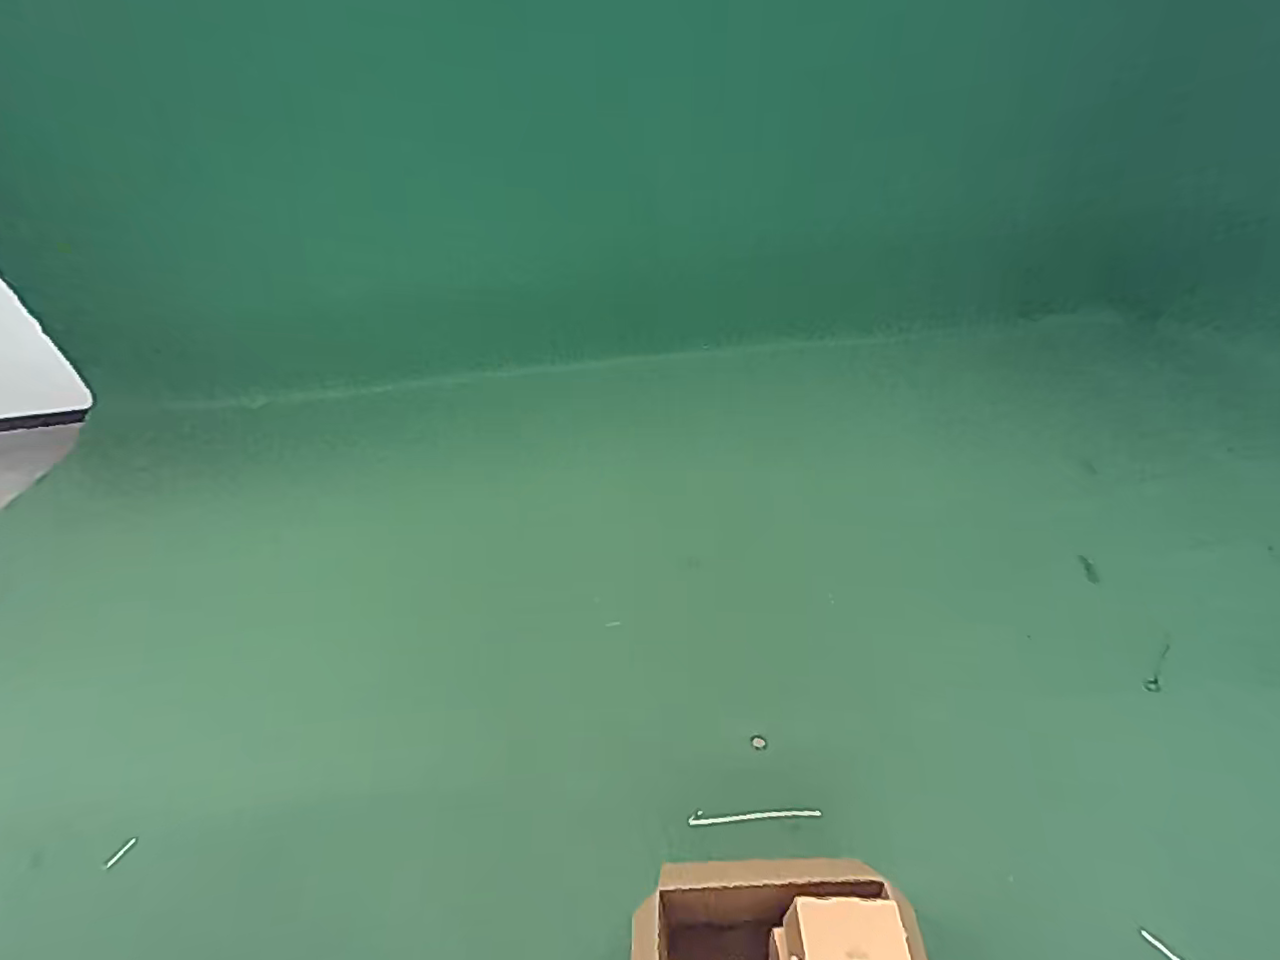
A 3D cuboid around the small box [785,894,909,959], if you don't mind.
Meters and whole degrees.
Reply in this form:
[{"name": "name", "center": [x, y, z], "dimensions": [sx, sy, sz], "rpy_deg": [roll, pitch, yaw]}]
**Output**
[{"name": "small box", "center": [0.339, 0.809, 0.885], "dimensions": [0.168, 0.176, 0.179], "rpy_deg": [-1, 40, 4]}]
